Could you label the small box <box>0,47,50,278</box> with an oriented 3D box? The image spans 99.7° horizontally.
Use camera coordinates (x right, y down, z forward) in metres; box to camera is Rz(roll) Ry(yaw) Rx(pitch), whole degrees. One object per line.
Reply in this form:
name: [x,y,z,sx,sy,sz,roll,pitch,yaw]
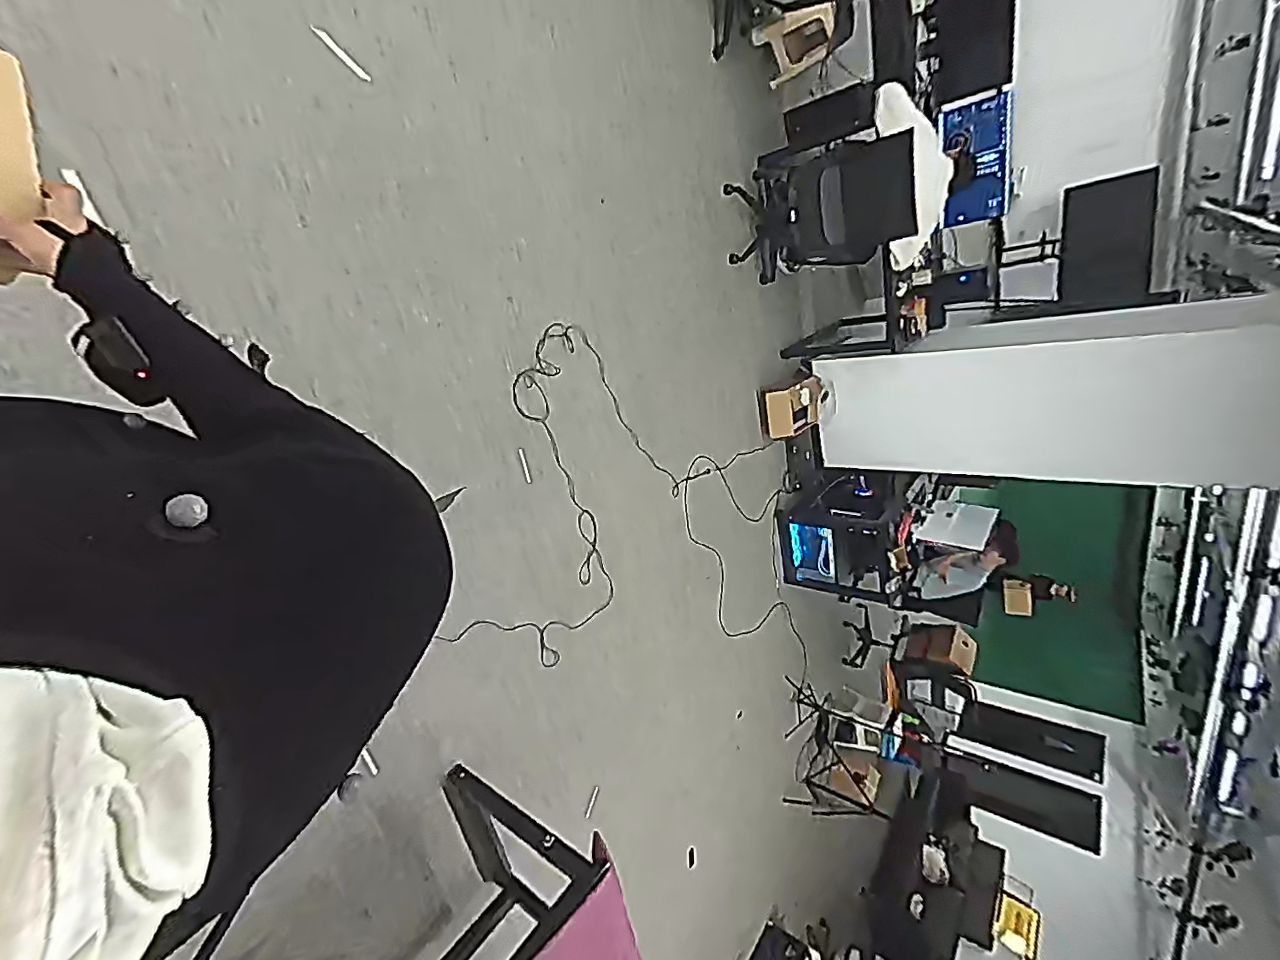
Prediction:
small box: [-0.685,-0.301,0.488,0.168,0.176,0.179,-13,95,-59]
